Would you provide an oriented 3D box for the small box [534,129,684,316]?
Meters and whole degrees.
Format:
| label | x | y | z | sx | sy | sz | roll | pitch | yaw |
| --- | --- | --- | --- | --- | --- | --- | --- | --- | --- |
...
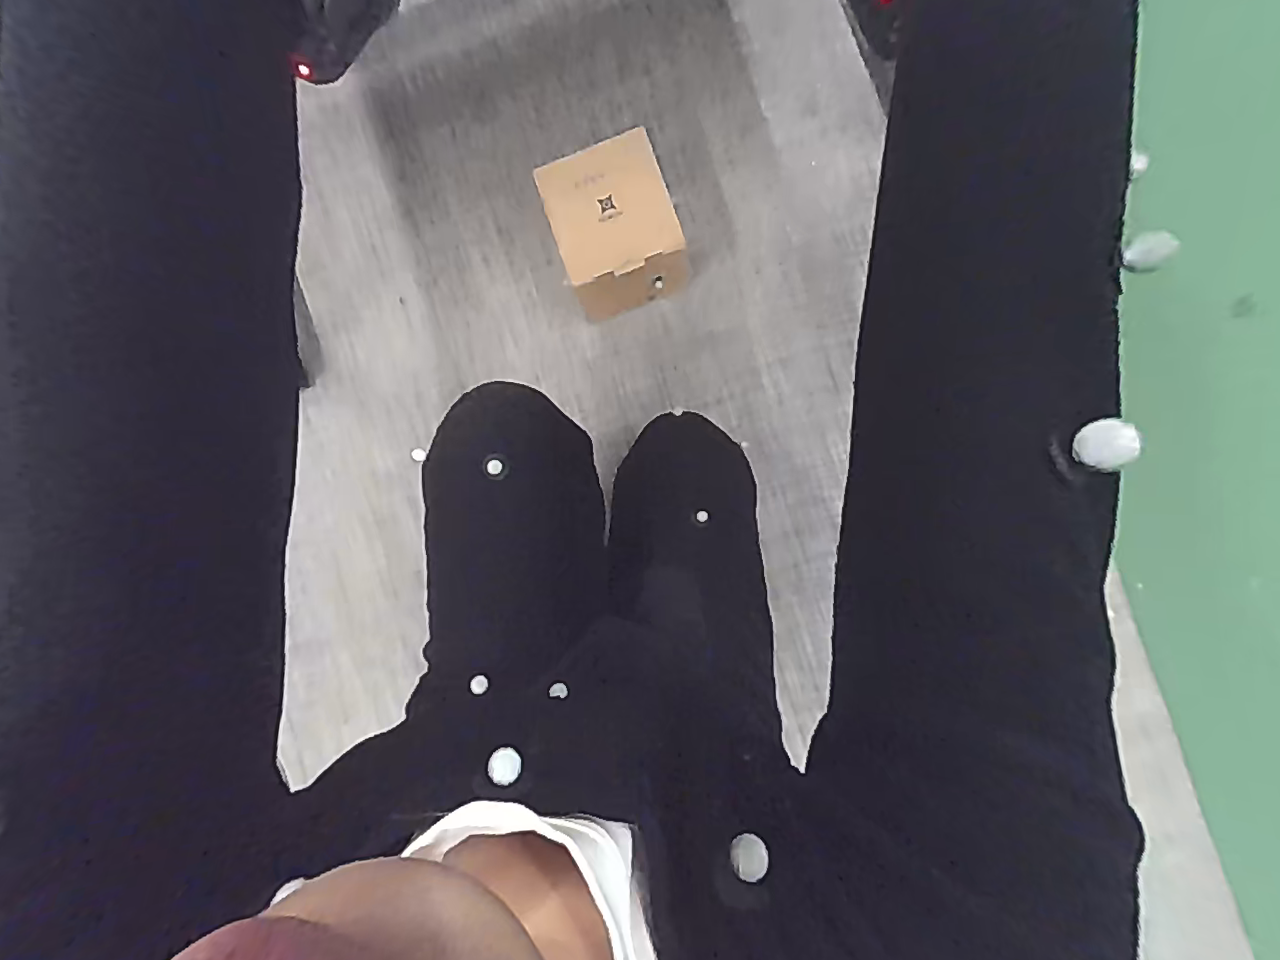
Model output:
| label | x | y | z | sx | sy | sz | roll | pitch | yaw |
| --- | --- | --- | --- | --- | --- | --- | --- | --- | --- |
| small box | -0.036 | -0.367 | 0.812 | 0.168 | 0.176 | 0.179 | -20 | 85 | 4 |
